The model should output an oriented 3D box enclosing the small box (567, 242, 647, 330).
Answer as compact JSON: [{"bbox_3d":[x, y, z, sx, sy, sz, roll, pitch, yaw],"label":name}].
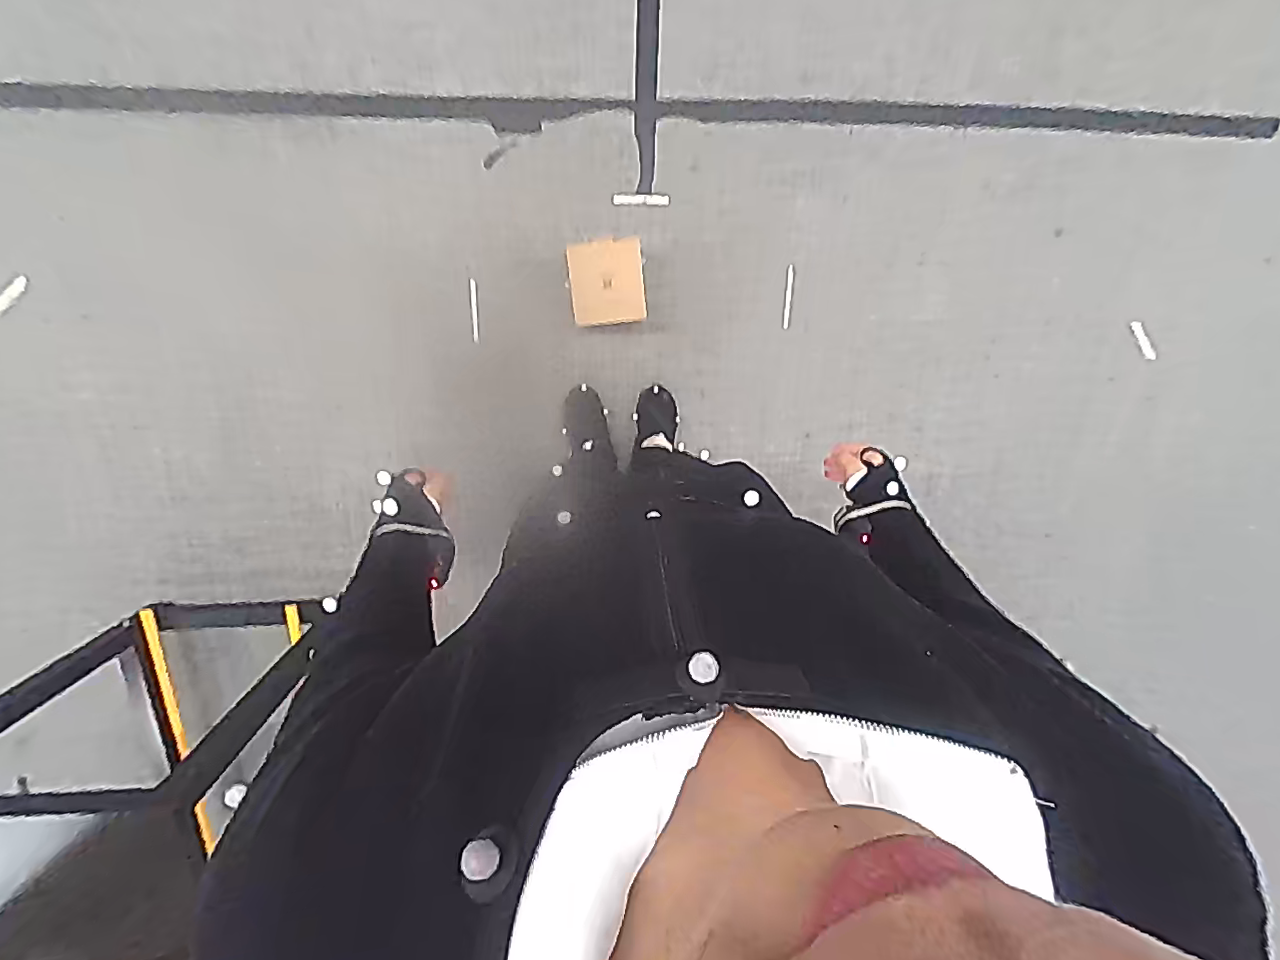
[{"bbox_3d":[-0.078,-0.455,1.283,0.168,0.176,0.179,-7,108,-1],"label":"small box"}]
